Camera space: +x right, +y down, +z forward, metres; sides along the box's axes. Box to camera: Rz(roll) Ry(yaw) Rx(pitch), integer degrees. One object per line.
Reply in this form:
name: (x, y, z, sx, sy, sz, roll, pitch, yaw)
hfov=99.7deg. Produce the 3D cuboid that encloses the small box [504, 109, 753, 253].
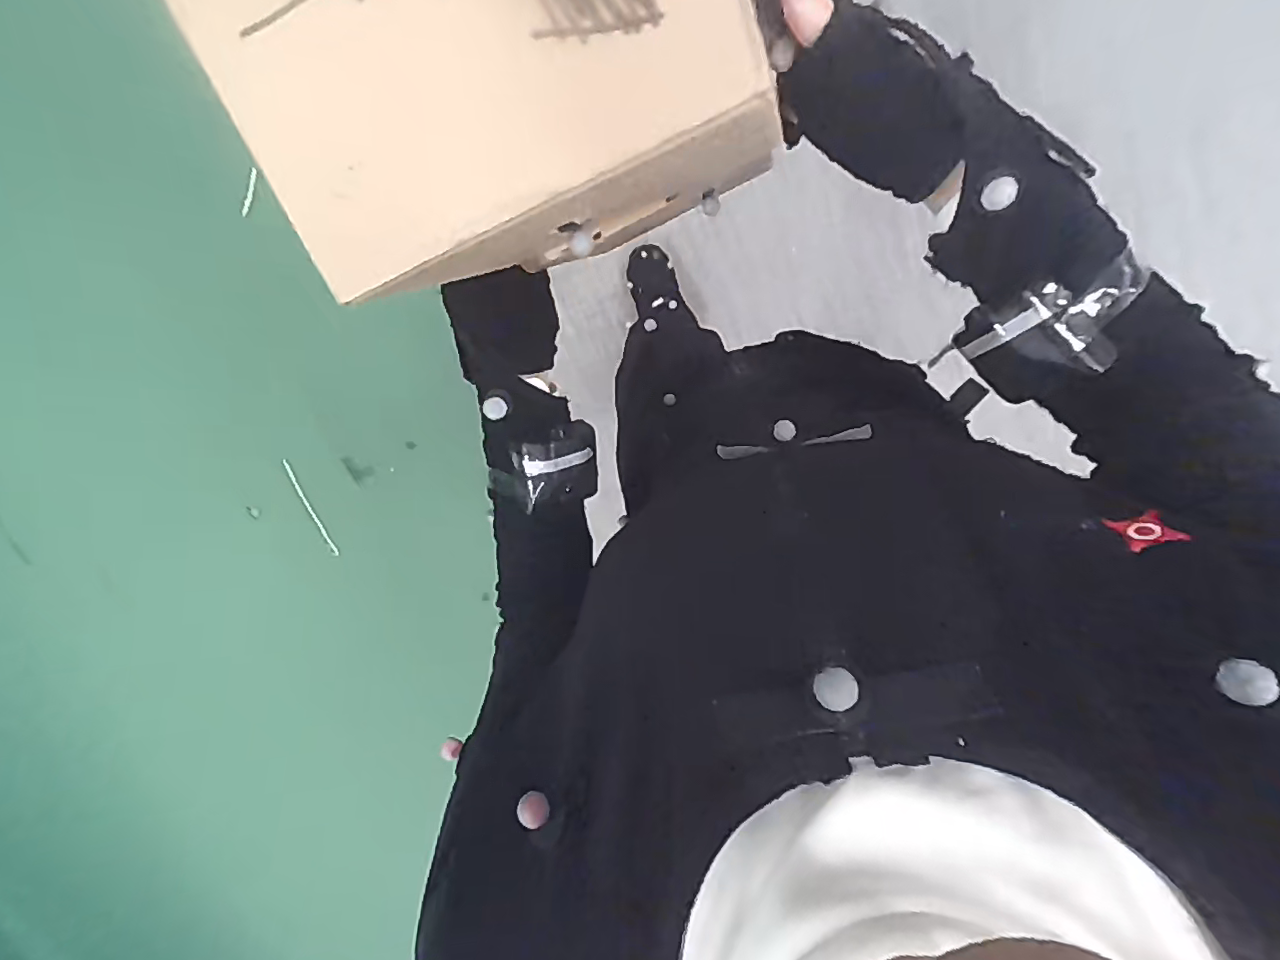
small box: (-0.028, -0.280, 0.372, 0.168, 0.176, 0.179, -17, 109, 22)
